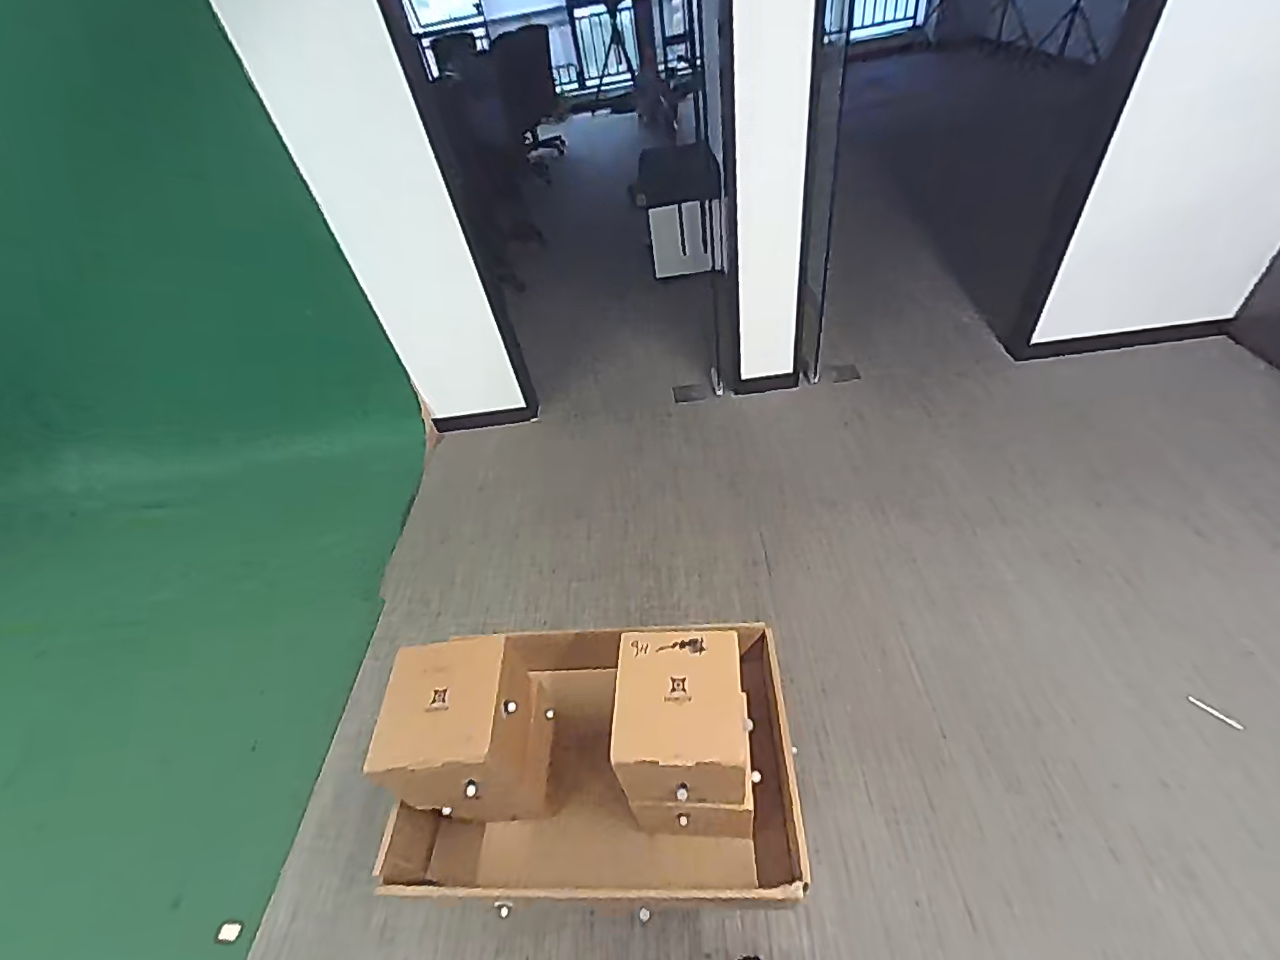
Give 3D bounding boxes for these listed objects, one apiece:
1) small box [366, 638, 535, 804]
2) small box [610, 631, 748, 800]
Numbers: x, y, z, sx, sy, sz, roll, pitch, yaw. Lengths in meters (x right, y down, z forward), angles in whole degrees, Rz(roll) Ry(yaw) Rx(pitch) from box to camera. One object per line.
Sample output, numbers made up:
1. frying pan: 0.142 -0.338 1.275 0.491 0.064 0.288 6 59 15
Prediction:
1. small box: -0.261 0.359 0.795 0.168 0.176 0.179 -7 44 4
2. small box: 0.061 0.330 0.753 0.168 0.176 0.179 -3 46 8
